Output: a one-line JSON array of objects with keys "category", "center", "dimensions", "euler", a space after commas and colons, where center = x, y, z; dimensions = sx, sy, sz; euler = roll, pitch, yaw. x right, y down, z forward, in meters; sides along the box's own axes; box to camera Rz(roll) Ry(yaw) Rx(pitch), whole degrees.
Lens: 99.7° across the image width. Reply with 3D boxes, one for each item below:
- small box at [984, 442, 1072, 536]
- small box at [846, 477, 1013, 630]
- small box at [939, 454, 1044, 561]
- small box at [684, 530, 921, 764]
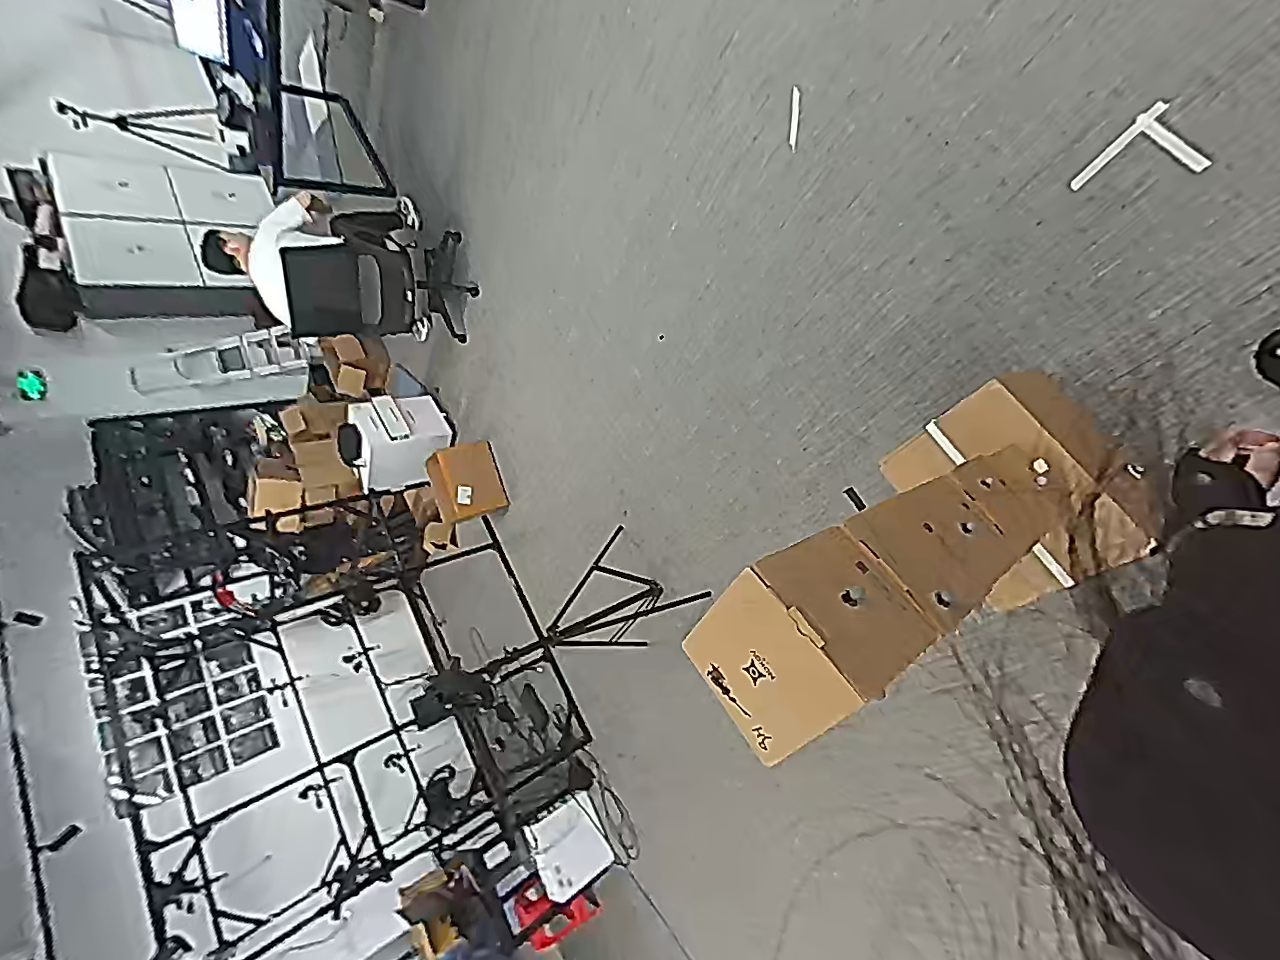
[{"category": "small box", "center": [0.677, 0.048, 1.041], "dimensions": [0.168, 0.176, 0.179], "euler": [58, 138, 19]}, {"category": "small box", "center": [0.433, 0.116, 0.834], "dimensions": [0.168, 0.176, 0.179], "euler": [55, 137, 24]}, {"category": "small box", "center": [0.556, 0.076, 0.937], "dimensions": [0.168, 0.176, 0.179], "euler": [58, 139, 20]}, {"category": "small box", "center": [0.190, 0.182, 0.624], "dimensions": [0.168, 0.176, 0.179], "euler": [52, 135, 26]}]
